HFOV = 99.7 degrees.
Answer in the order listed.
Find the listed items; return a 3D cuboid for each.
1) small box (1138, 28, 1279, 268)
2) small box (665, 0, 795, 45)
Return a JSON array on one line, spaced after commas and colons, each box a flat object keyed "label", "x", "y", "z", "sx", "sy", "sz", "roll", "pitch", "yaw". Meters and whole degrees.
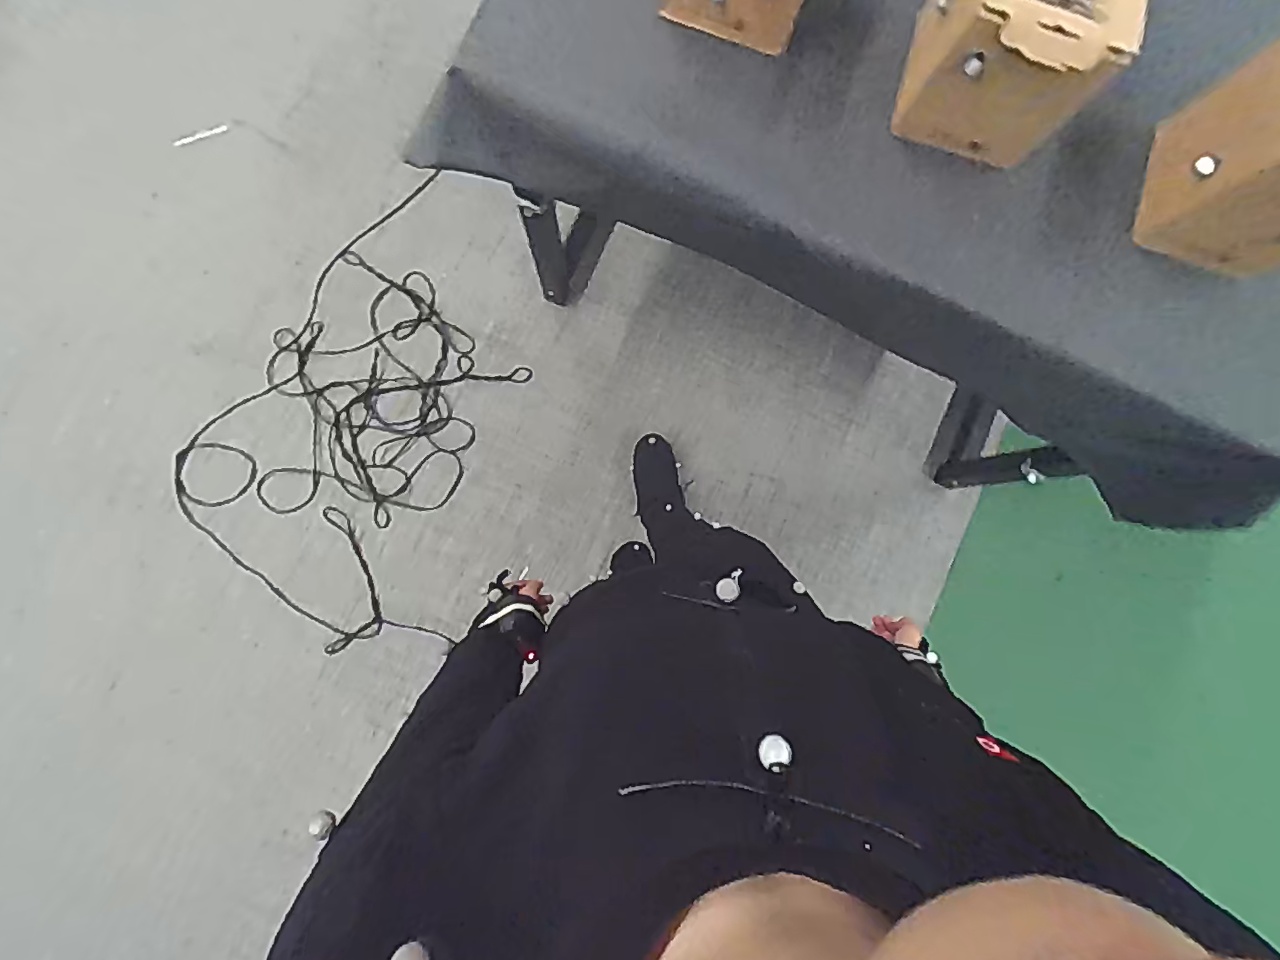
[{"label": "small box", "x": 0.739, "y": -0.379, "z": 0.628, "sx": 0.168, "sy": 0.176, "sz": 0.179, "roll": 17, "pitch": 84, "yaw": -3}, {"label": "small box", "x": 0.127, "y": -0.658, "z": 0.609, "sx": 0.168, "sy": 0.176, "sz": 0.179, "roll": 17, "pitch": 85, "yaw": -3}]
